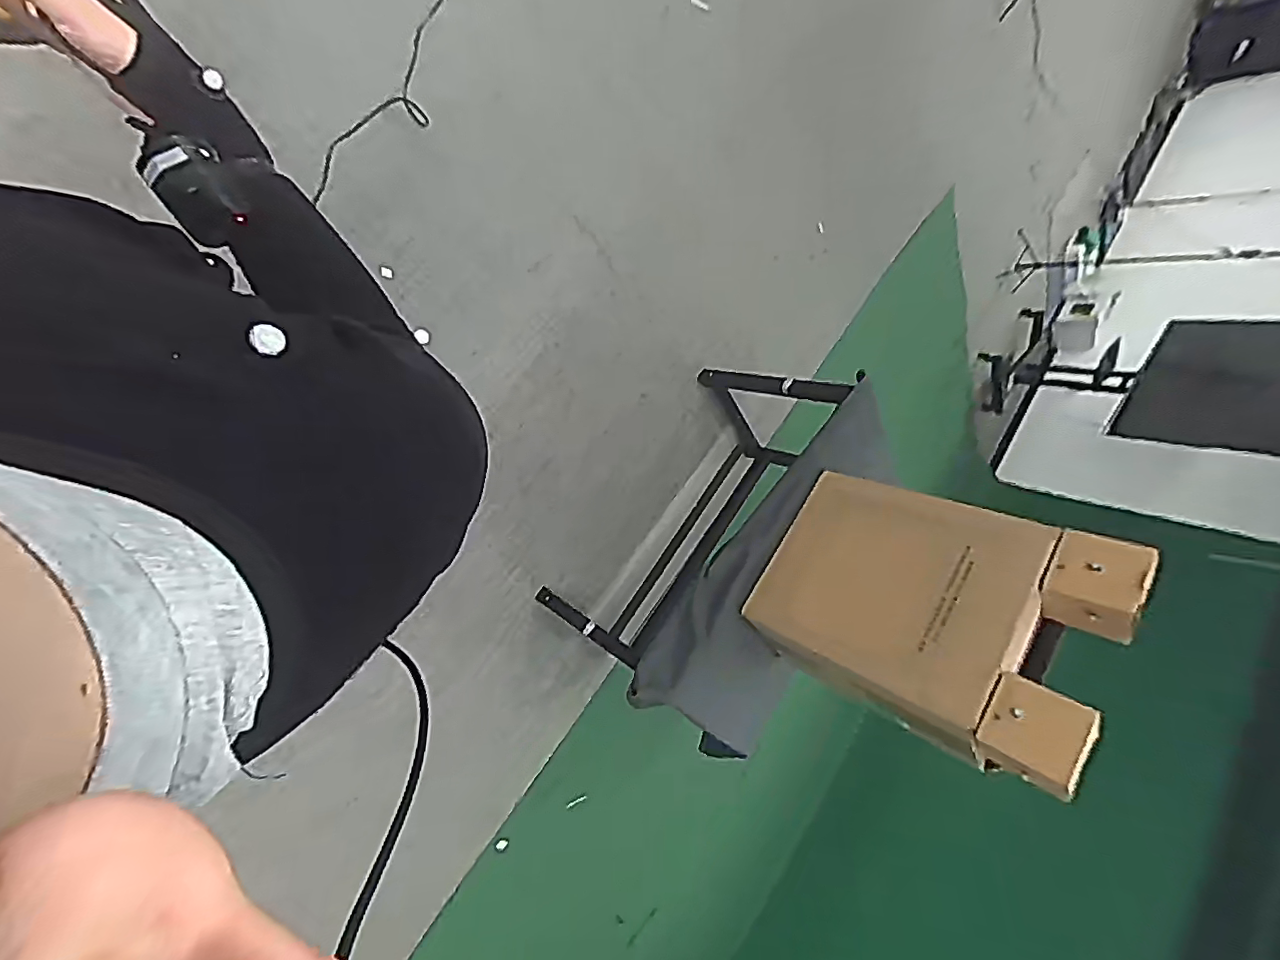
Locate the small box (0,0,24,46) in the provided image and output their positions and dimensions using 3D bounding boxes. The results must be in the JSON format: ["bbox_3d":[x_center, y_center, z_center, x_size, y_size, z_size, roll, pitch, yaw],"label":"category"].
[{"bbox_3d":[-0.455,-0.322,0.249,0.168,0.176,0.179,-21,127,-29],"label":"small box"}]

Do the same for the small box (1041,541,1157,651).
[{"bbox_3d":[1.050,0.258,1.247,0.168,0.176,0.179,-55,132,-15],"label":"small box"}]

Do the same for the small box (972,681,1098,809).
[{"bbox_3d":[0.838,0.559,1.154,0.168,0.176,0.179,-54,132,-13],"label":"small box"}]
